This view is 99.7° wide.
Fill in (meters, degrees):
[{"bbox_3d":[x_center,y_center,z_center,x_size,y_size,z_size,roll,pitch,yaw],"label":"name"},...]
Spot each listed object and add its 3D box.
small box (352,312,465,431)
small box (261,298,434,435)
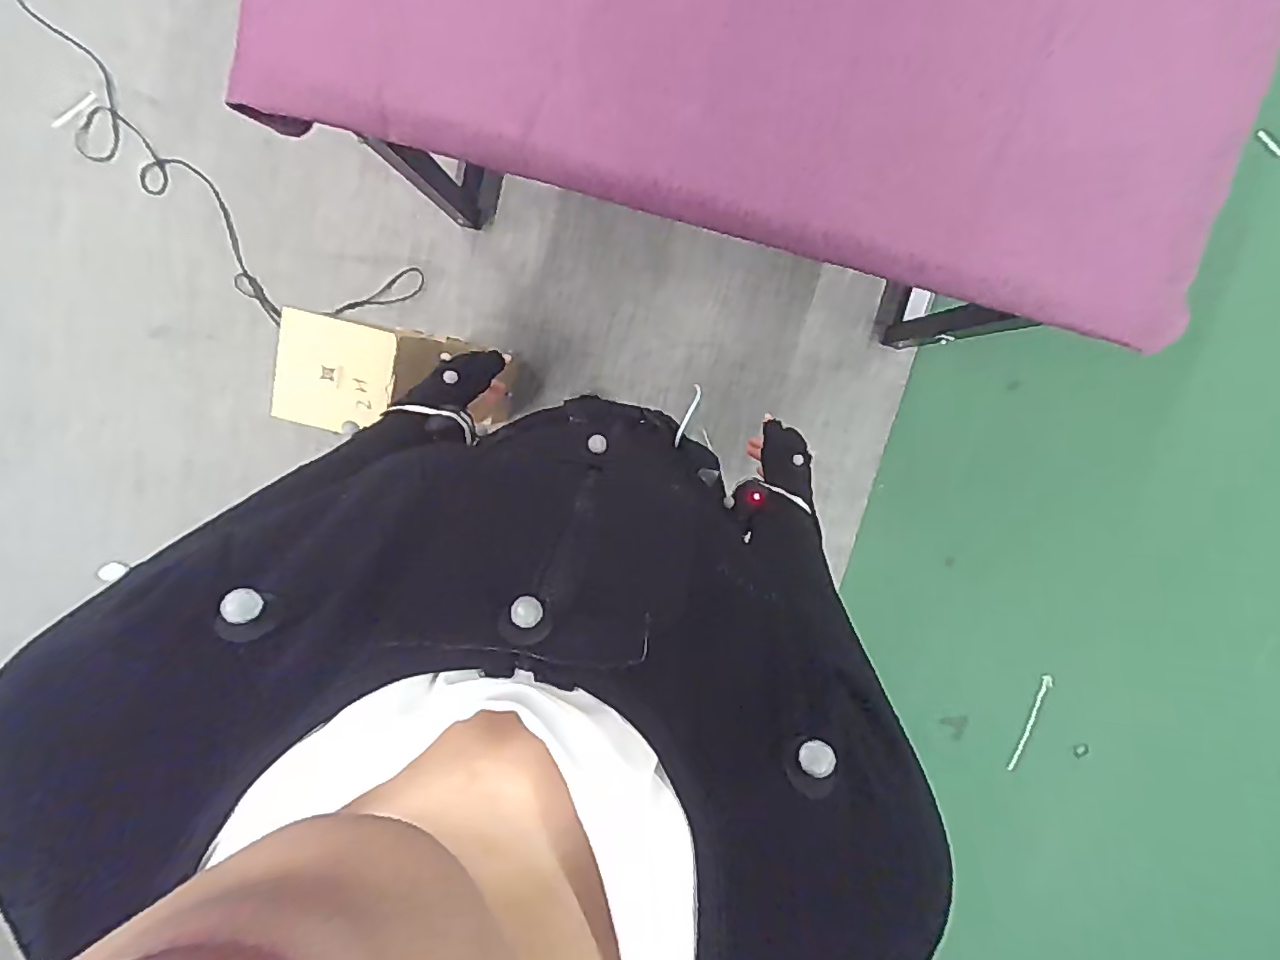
[{"bbox_3d":[-0.449,-0.206,1.036,0.168,0.176,0.179,14,102,-2],"label":"small box"},{"bbox_3d":[-0.462,-0.179,0.873,0.179,0.176,0.168,15,102,-3],"label":"small box"}]
